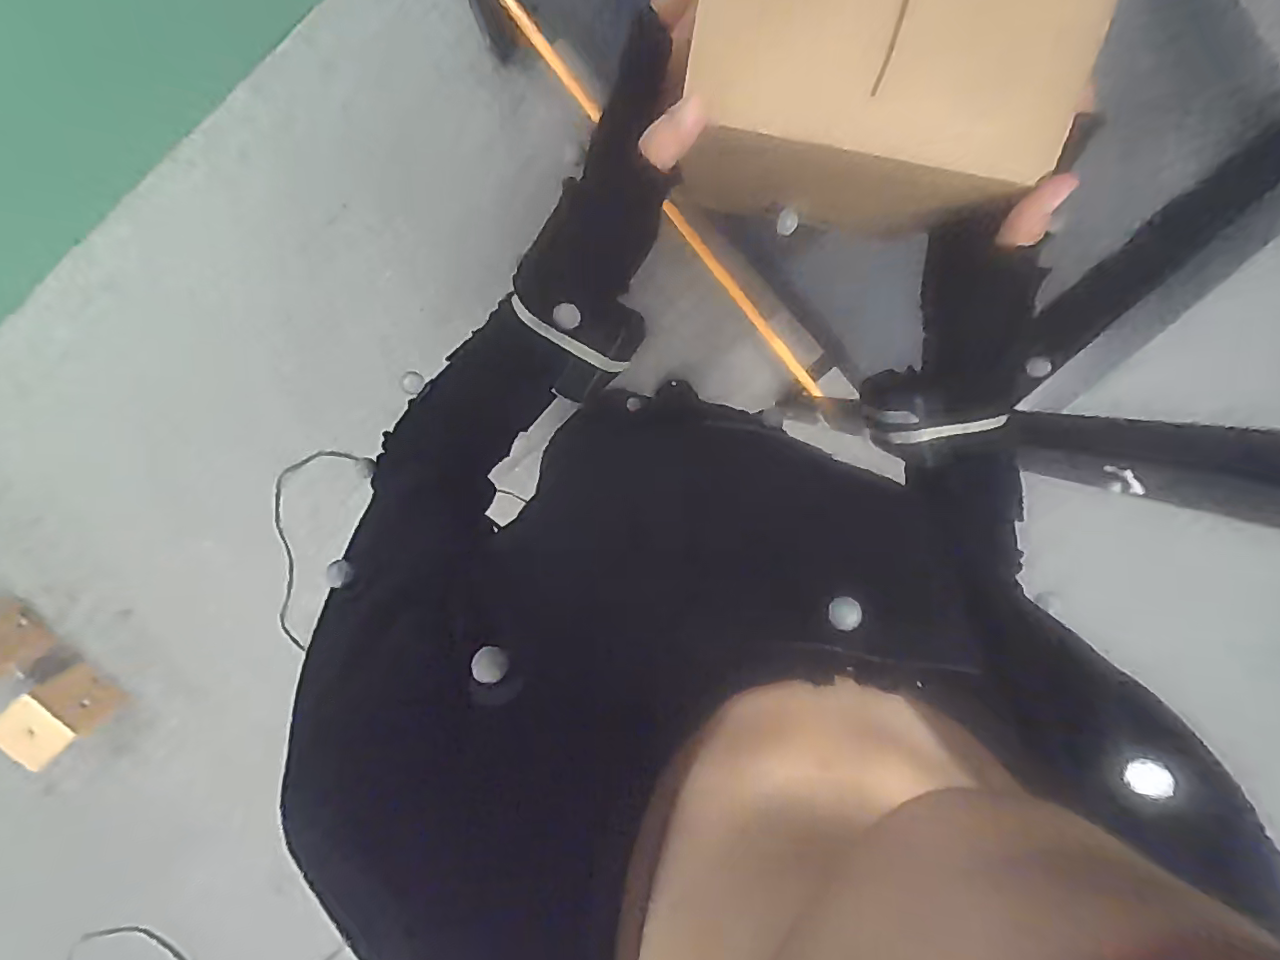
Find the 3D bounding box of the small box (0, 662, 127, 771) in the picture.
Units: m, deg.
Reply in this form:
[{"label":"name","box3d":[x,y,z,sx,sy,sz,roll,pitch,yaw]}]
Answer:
[{"label":"small box","box3d":[-1.573,0.635,1.475,0.179,0.176,0.168,-40,99,6]}]
